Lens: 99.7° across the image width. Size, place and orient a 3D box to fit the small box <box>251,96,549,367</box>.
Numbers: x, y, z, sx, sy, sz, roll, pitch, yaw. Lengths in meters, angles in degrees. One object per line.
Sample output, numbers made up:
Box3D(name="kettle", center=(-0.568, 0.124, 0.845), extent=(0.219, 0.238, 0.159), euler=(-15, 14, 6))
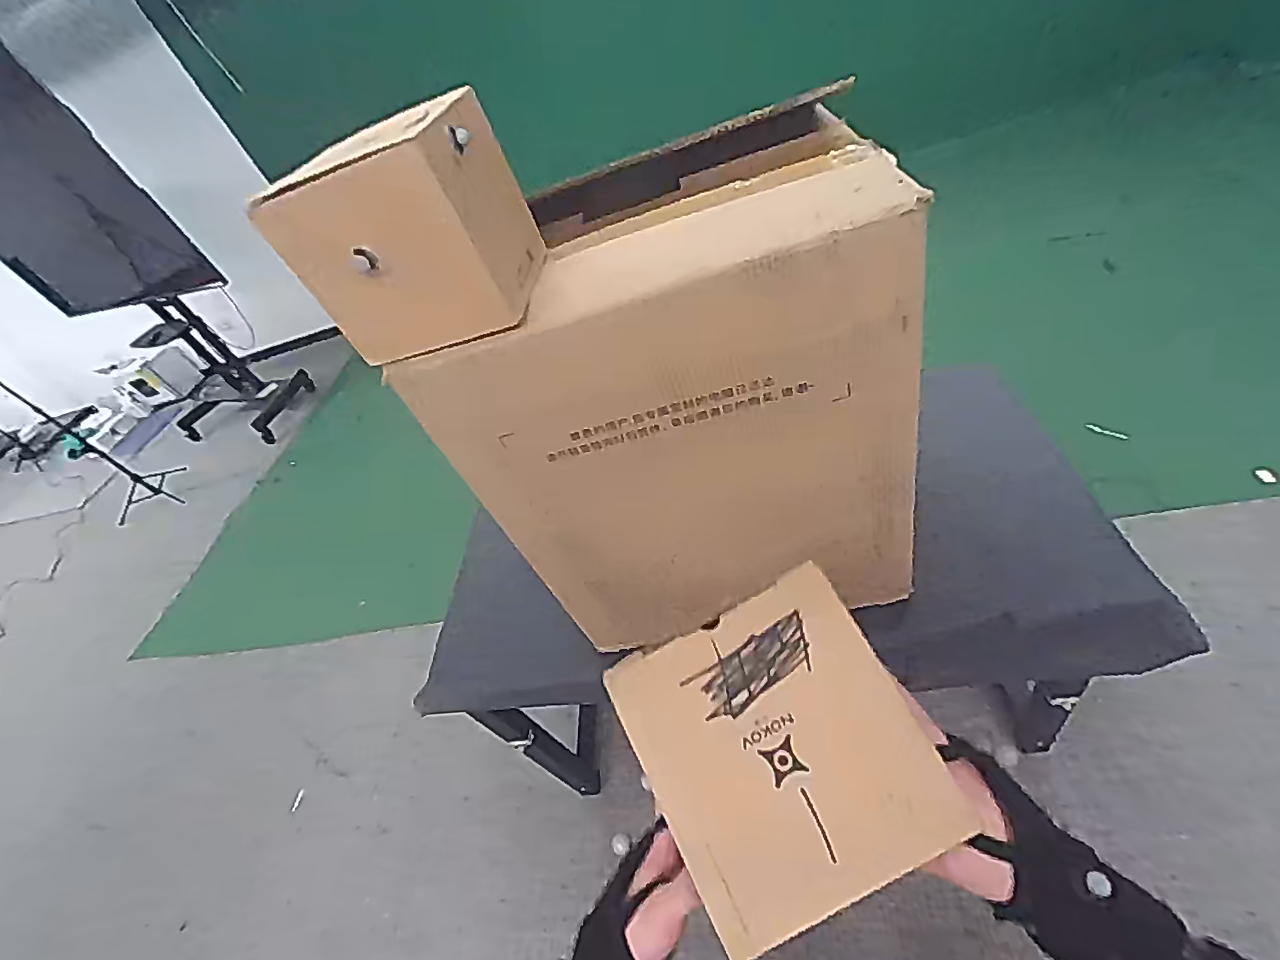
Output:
Box3D(name="small box", center=(-0.215, -0.236, 0.537), extent=(0.179, 0.176, 0.168), euler=(-12, 45, 16))
